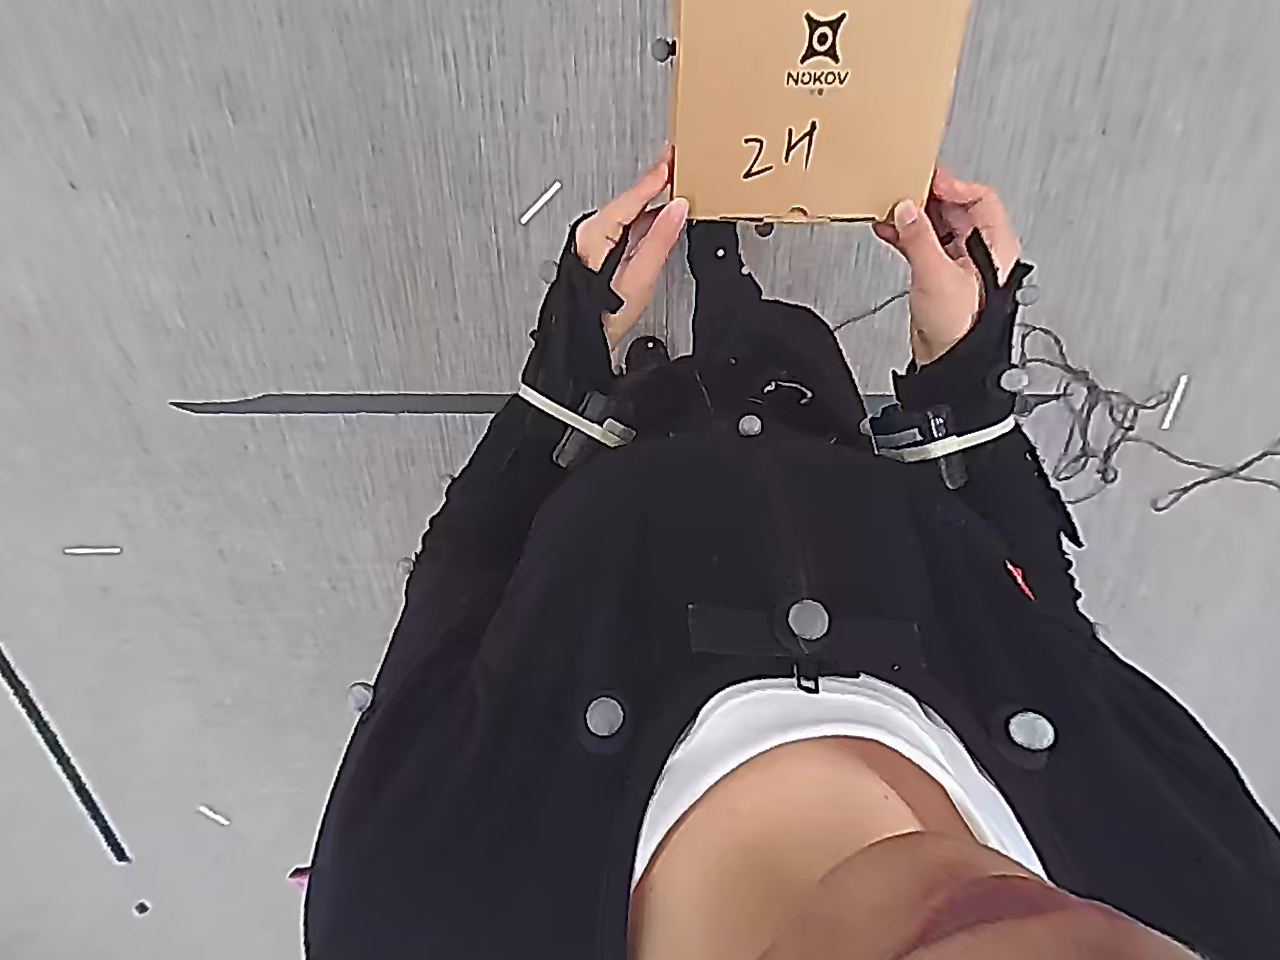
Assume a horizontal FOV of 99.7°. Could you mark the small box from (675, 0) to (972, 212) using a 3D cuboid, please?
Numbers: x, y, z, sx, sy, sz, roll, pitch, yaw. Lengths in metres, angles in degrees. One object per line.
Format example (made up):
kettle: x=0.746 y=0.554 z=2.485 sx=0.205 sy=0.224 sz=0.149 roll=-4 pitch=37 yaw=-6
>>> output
small box: x=0.111 y=-0.293 z=0.391 sx=0.168 sy=0.176 sz=0.179 roll=1 pitch=117 yaw=3
